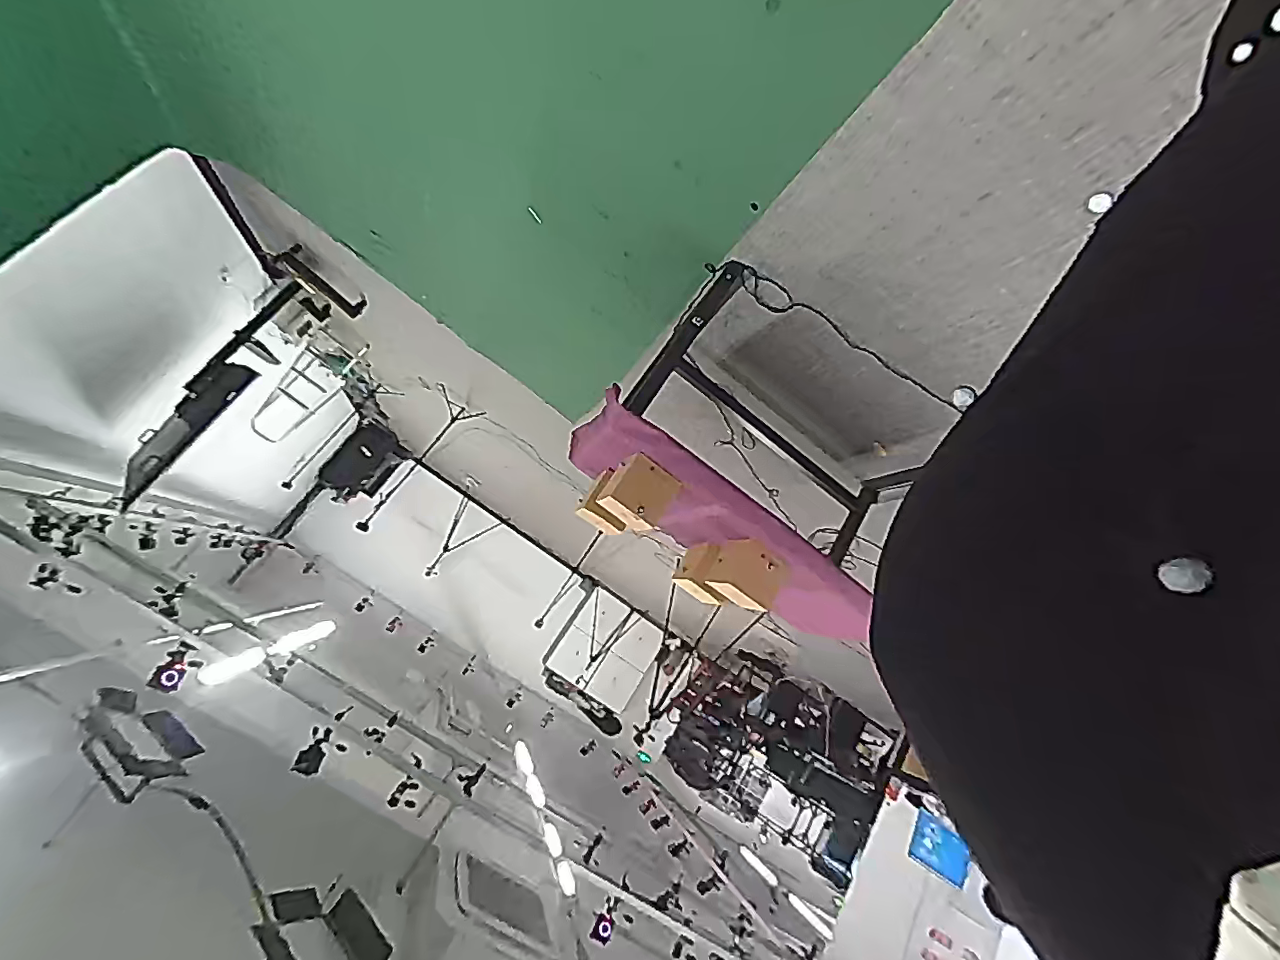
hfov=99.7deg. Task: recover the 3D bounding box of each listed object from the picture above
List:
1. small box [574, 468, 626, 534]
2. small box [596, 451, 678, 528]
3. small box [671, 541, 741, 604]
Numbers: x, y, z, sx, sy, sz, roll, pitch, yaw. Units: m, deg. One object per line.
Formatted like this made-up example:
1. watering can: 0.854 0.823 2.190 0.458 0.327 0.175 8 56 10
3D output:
1. small box: -0.114 0.078 1.955 0.168 0.176 0.179 34 162 -10
2. small box: -0.008 0.031 1.658 0.168 0.176 0.179 36 164 -12
3. small box: 0.249 0.343 2.027 0.168 0.176 0.179 38 160 -10
